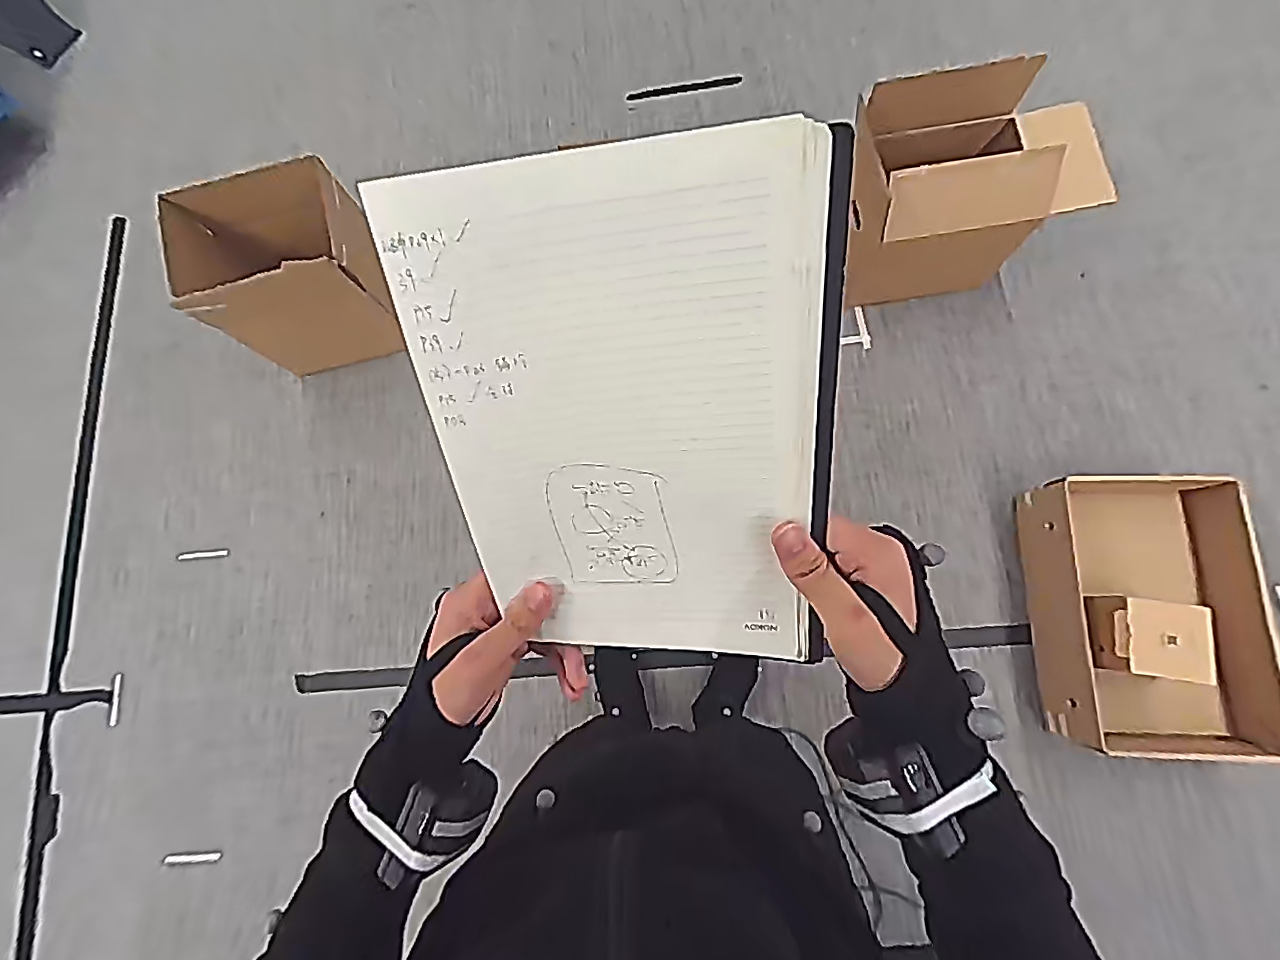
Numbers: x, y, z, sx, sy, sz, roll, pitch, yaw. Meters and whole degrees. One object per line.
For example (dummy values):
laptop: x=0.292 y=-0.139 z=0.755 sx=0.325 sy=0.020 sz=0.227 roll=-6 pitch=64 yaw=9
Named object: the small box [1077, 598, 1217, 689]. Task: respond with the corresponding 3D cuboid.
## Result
small box: x=1.149 y=0.370 z=1.241 sx=0.179 sy=0.176 sz=0.168 roll=8 pitch=78 yaw=6
